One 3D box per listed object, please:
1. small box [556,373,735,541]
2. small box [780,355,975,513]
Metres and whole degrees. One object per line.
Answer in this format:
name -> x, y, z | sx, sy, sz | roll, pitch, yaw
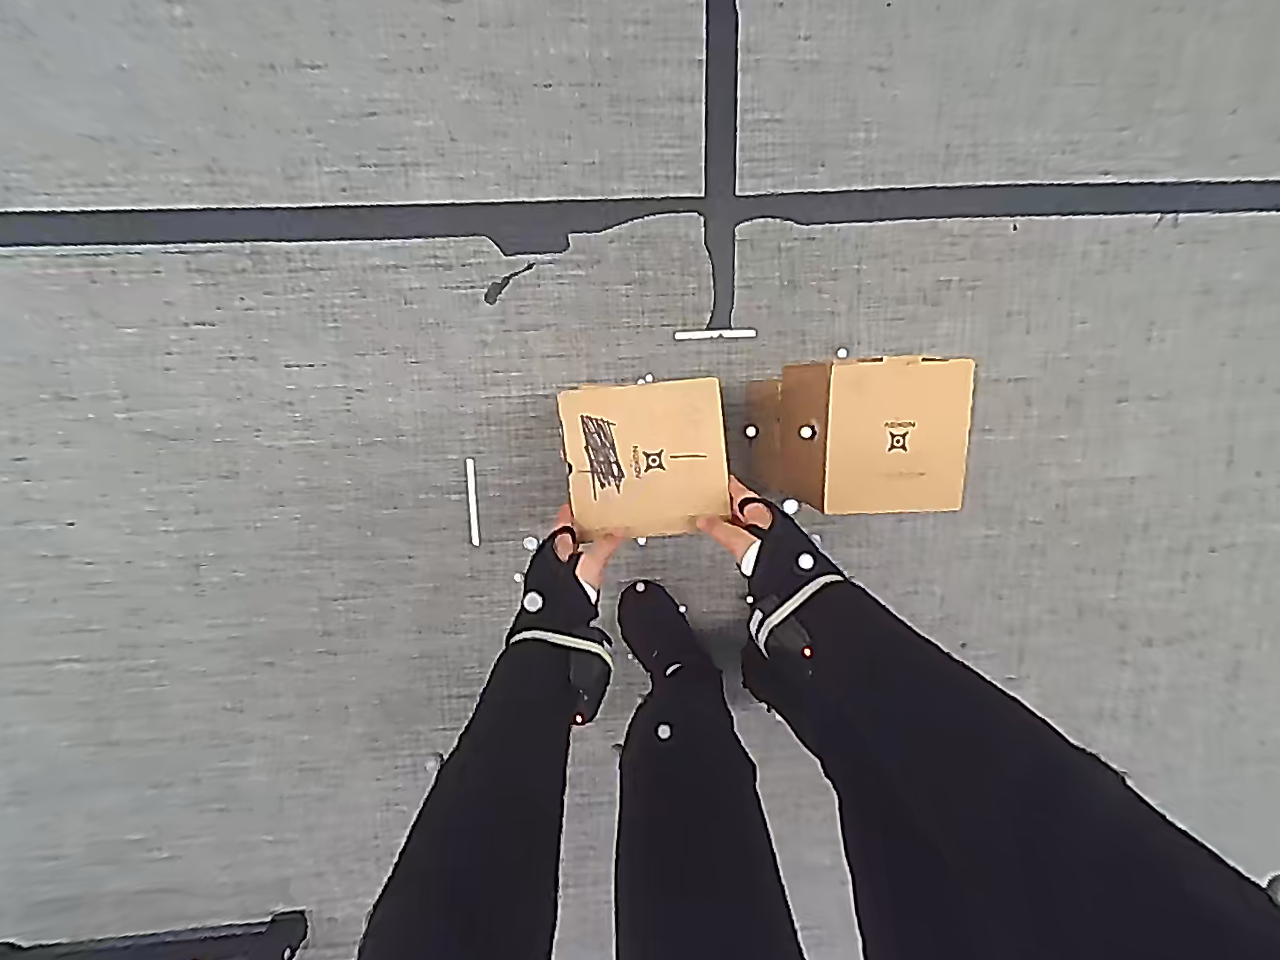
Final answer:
small box -> 0.004, -0.023, 0.648 | 0.179, 0.176, 0.168 | -7, 90, -2
small box -> 0.282, -0.063, 0.680 | 0.168, 0.176, 0.179 | -2, 101, -3
